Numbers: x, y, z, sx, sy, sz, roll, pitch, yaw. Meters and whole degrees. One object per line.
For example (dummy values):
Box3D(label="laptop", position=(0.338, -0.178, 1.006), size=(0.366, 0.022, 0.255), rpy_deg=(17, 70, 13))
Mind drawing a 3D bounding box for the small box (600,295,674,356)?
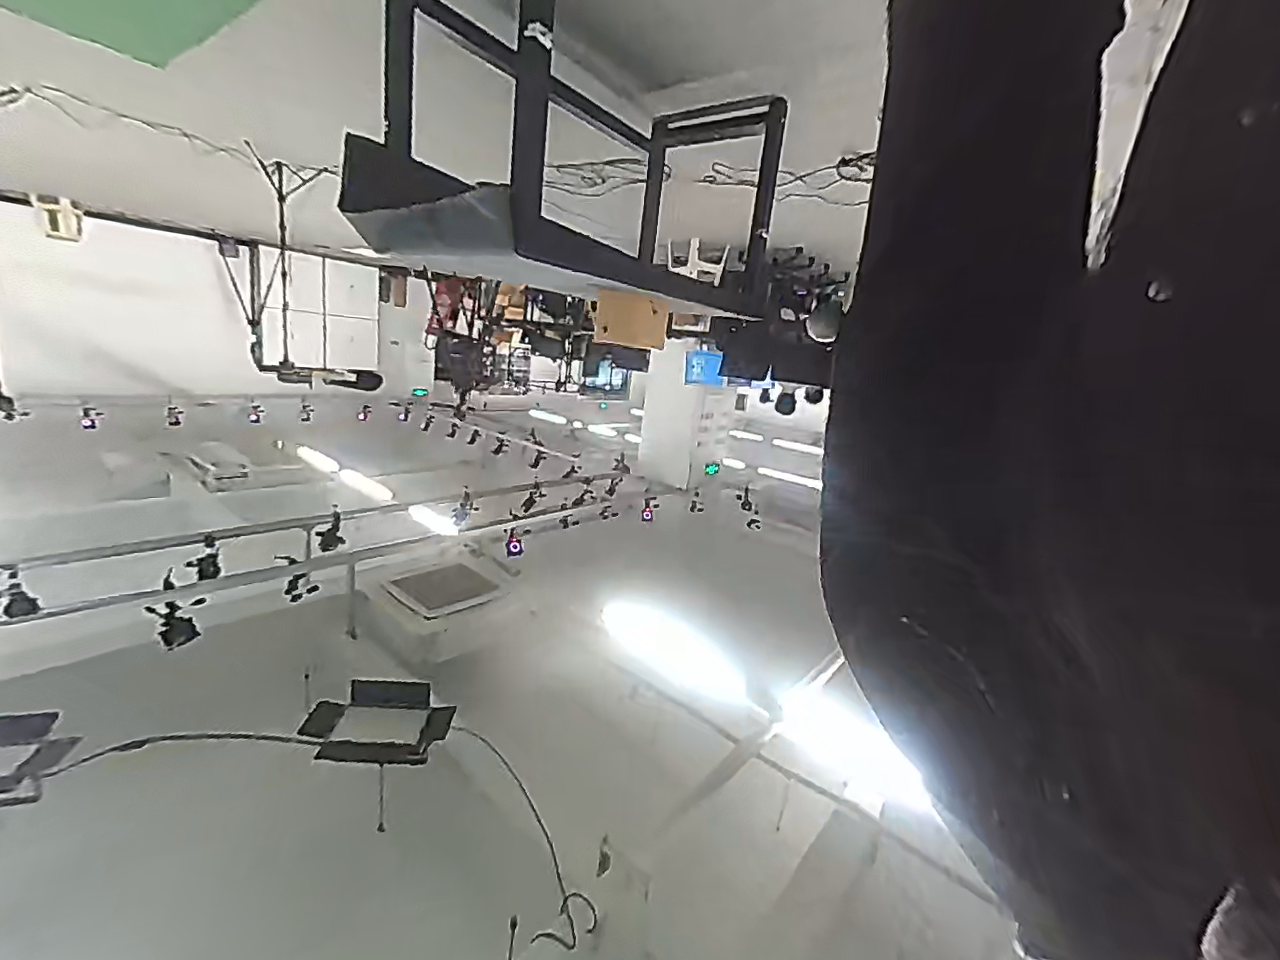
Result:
Box3D(label="small box", position=(-0.007, -0.509, 1.773), size=(0.179, 0.176, 0.168), rpy_deg=(17, -163, 35))
